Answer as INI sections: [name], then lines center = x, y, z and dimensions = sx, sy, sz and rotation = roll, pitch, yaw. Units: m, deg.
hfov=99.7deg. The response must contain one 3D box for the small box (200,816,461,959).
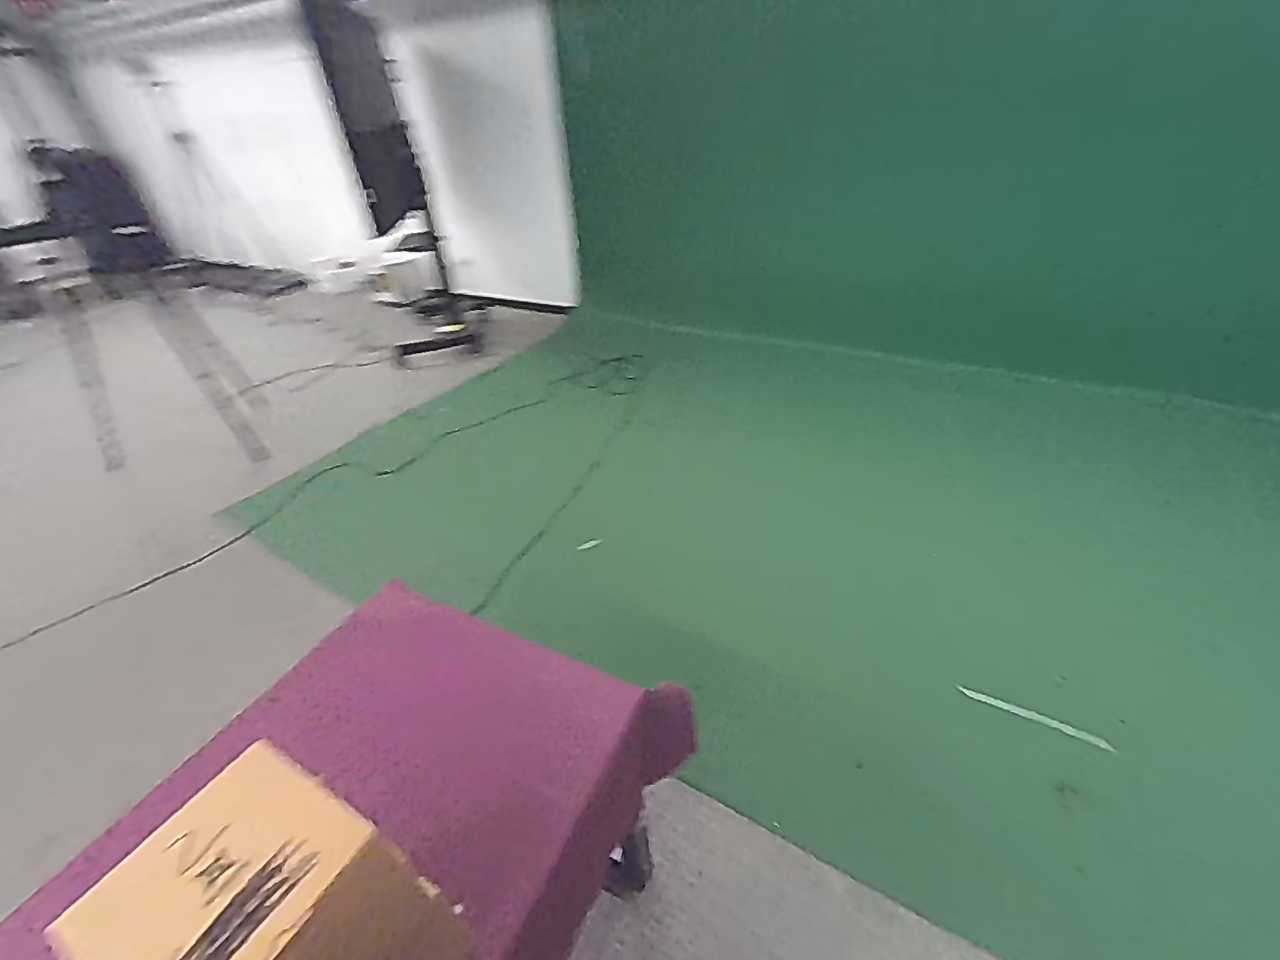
[small box]
center = -0.312, 0.510, 0.568
dimensions = 0.168, 0.176, 0.179
rotation = 14, 40, 26
